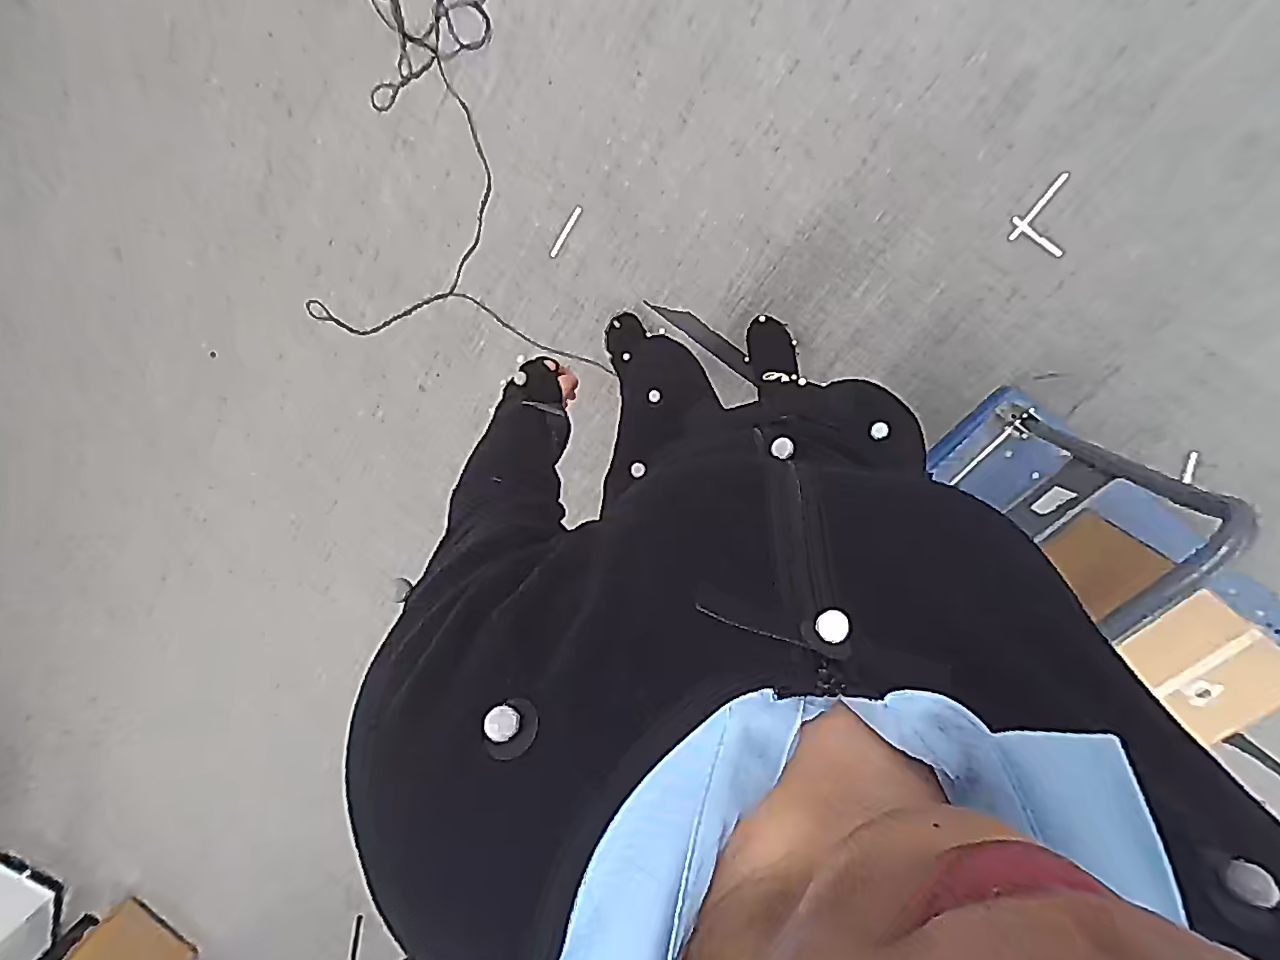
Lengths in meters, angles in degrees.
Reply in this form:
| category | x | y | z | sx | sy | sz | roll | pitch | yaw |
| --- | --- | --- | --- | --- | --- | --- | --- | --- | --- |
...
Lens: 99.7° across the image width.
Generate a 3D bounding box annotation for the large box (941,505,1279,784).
| category | x | y | z | sx | sy | sz | roll | pitch | yaw |
| --- | --- | --- | --- | --- | --- | --- | --- | --- | --- |
| large box | 0.951 | 0.330 | 1.148 | 0.320 | 0.320 | 0.408 | 38 | 110 | -3 |
